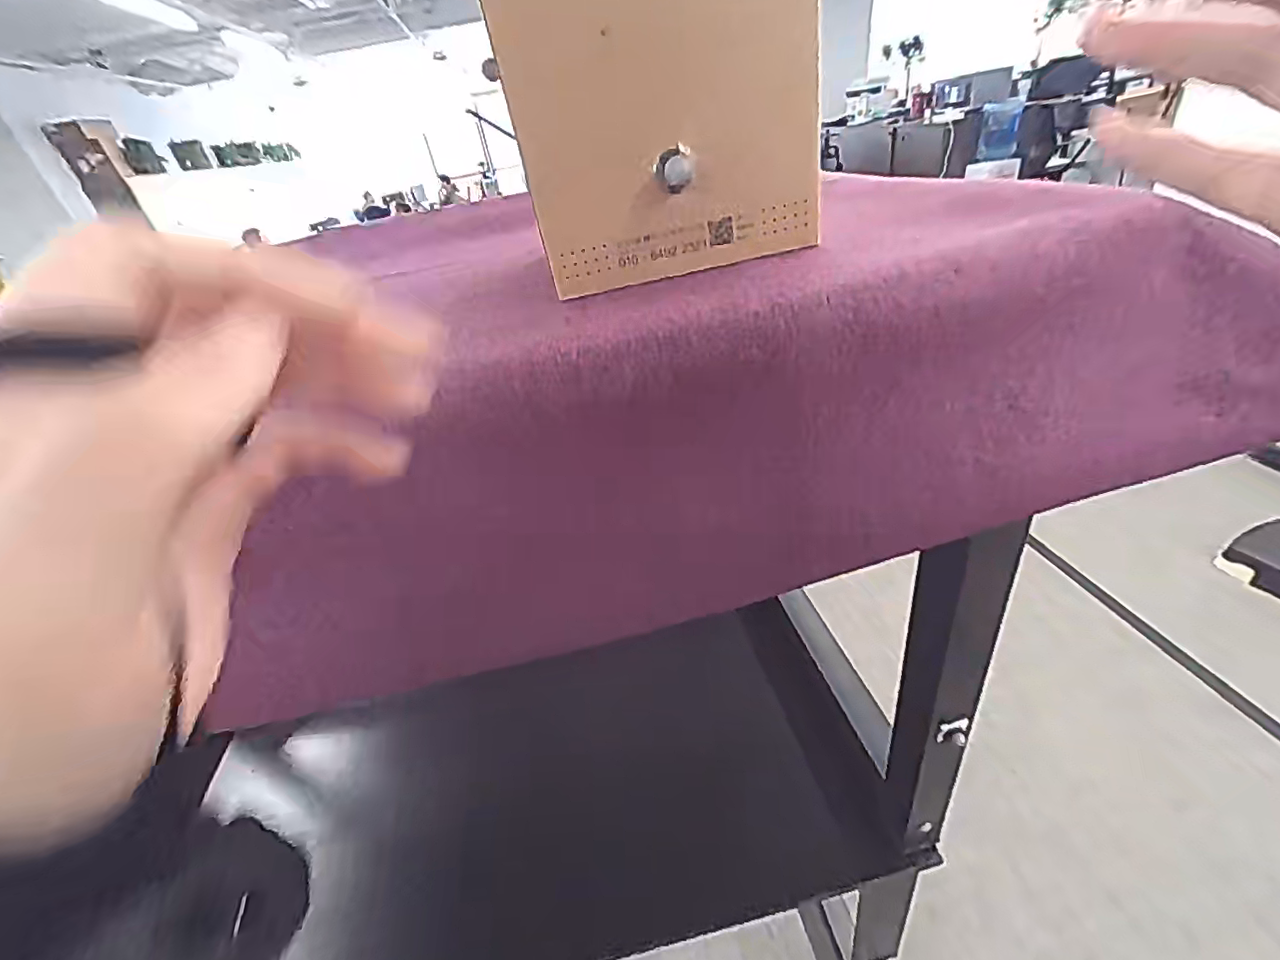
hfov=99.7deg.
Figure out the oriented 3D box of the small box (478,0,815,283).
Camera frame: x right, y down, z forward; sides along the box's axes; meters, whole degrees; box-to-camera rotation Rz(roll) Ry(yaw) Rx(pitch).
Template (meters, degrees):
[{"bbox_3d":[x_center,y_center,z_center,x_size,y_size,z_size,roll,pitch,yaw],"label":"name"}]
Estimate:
[{"bbox_3d":[0.001,-0.239,0.350,0.168,0.176,0.179,-13,33,-1],"label":"small box"}]
